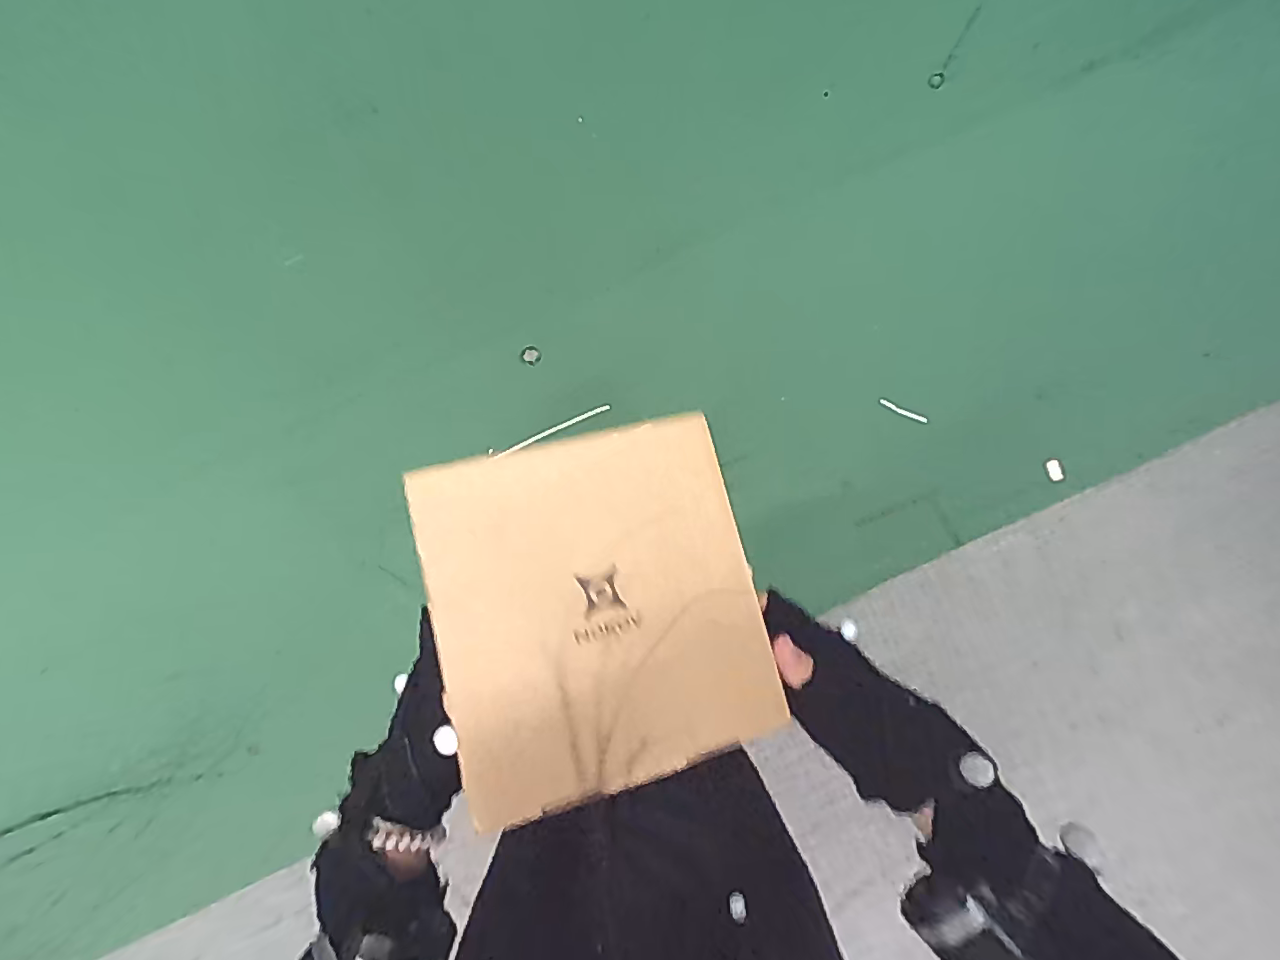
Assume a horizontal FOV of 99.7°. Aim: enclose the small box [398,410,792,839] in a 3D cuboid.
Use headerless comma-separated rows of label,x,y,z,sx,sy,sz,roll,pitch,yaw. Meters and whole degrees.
small box,-0.036,0.077,0.347,0.168,0.176,0.179,-14,82,-12
